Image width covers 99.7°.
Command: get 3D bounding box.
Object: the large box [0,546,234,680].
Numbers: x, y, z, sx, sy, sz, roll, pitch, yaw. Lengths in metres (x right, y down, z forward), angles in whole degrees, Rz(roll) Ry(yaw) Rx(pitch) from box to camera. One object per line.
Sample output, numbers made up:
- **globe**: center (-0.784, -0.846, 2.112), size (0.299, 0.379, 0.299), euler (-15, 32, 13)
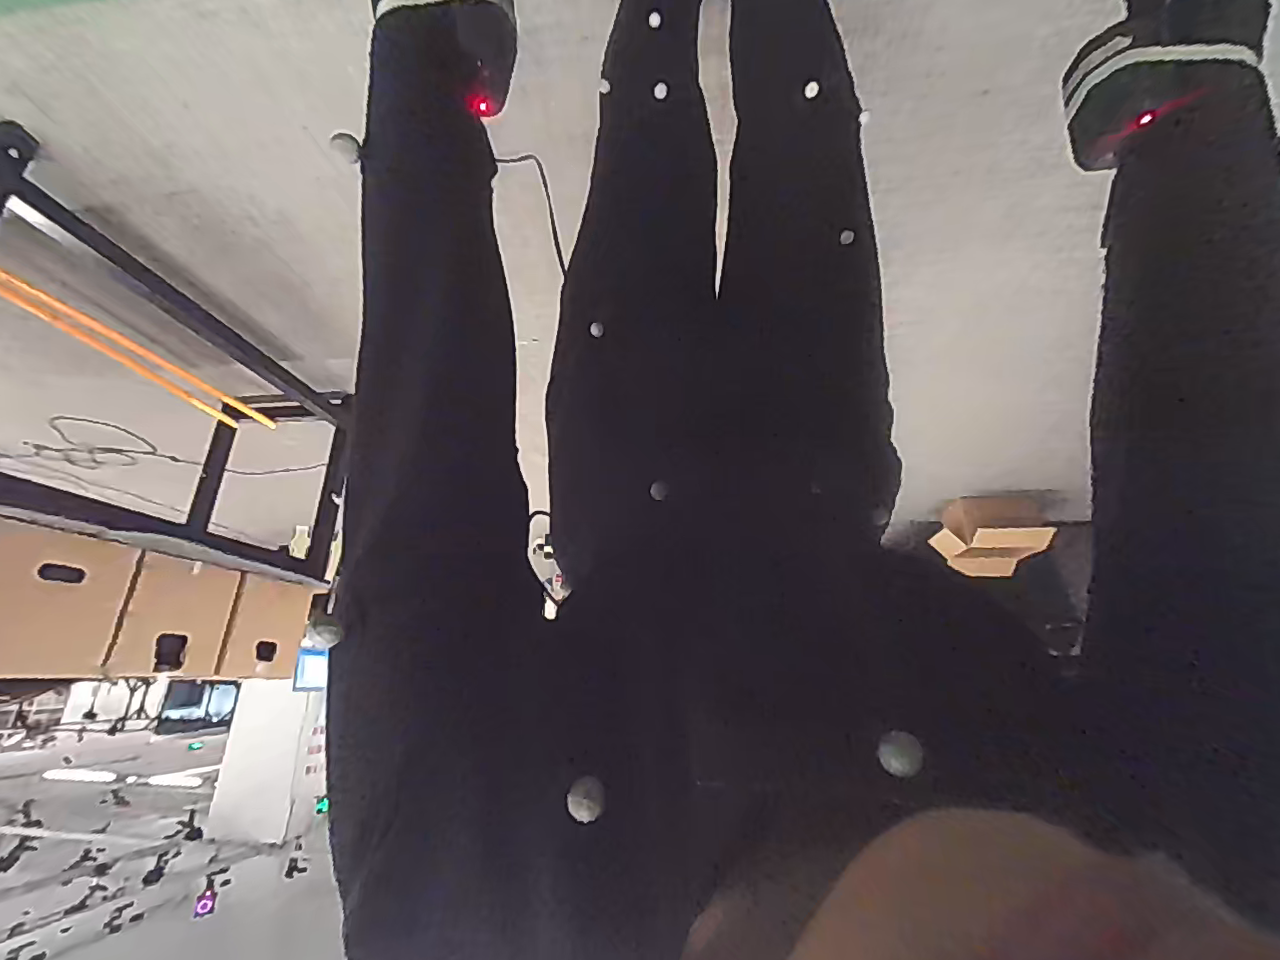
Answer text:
- **large box**: center (-1.433, 0.369, 1.459), size (0.408, 0.320, 0.320), euler (-3, 160, 7)
